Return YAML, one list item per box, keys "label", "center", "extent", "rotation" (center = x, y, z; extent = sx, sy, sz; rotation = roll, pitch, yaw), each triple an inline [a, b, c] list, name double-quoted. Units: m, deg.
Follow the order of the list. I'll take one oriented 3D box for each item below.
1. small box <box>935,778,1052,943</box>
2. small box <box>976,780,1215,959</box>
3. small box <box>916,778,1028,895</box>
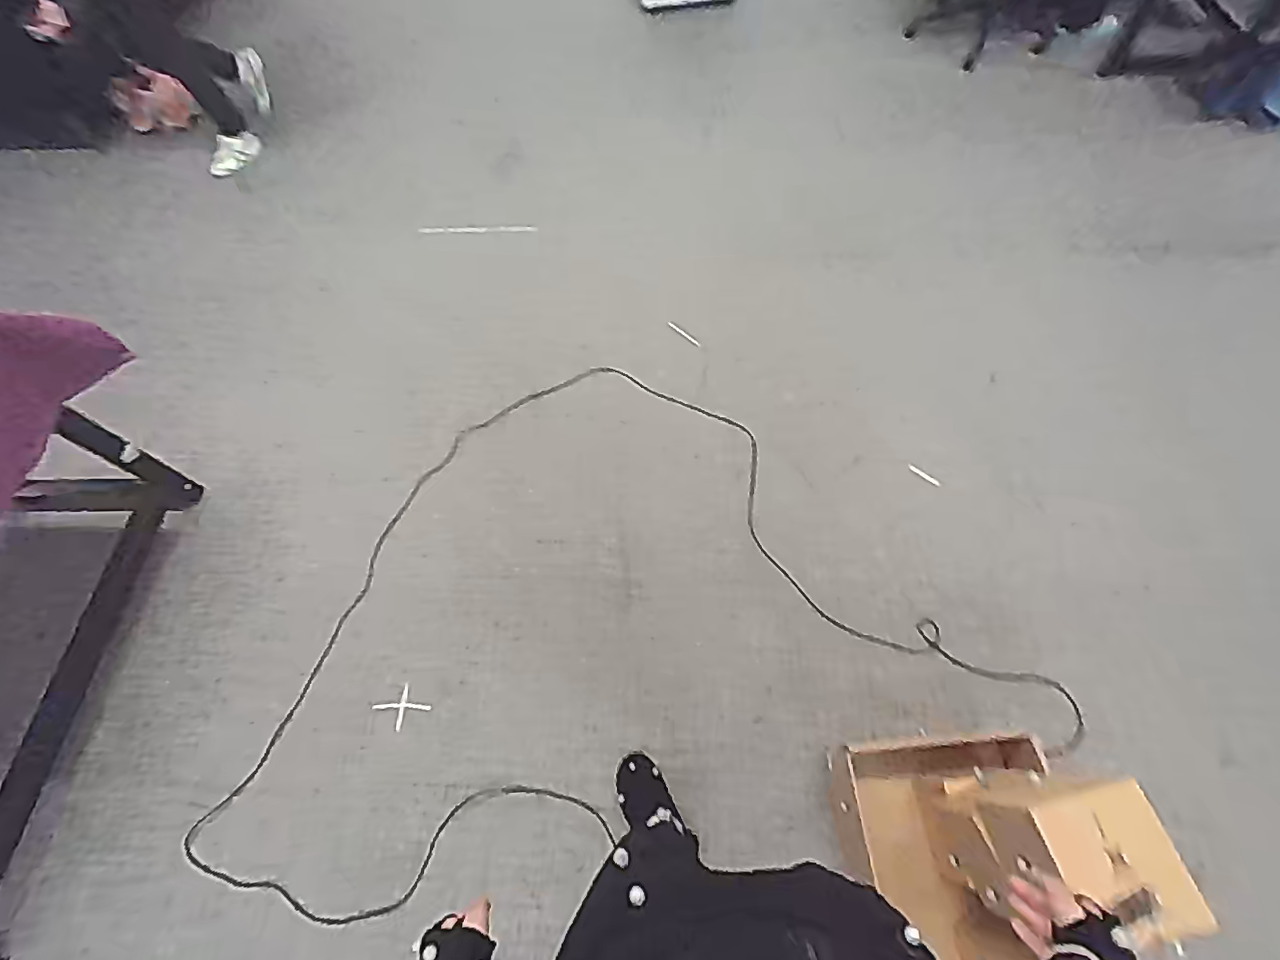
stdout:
- label: "small box"
  center: [0.661, 0.644, 0.940]
  extent: [0.168, 0.176, 0.179]
  rotation: [-20, 65, -5]
- label: "small box"
  center: [0.647, 0.563, 0.798]
  extent: [0.168, 0.176, 0.179]
  rotation: [-14, 64, -3]
- label: "small box"
  center: [0.686, 0.706, 1.090]
  extent: [0.168, 0.176, 0.179]
  rotation: [-5, 65, 2]
